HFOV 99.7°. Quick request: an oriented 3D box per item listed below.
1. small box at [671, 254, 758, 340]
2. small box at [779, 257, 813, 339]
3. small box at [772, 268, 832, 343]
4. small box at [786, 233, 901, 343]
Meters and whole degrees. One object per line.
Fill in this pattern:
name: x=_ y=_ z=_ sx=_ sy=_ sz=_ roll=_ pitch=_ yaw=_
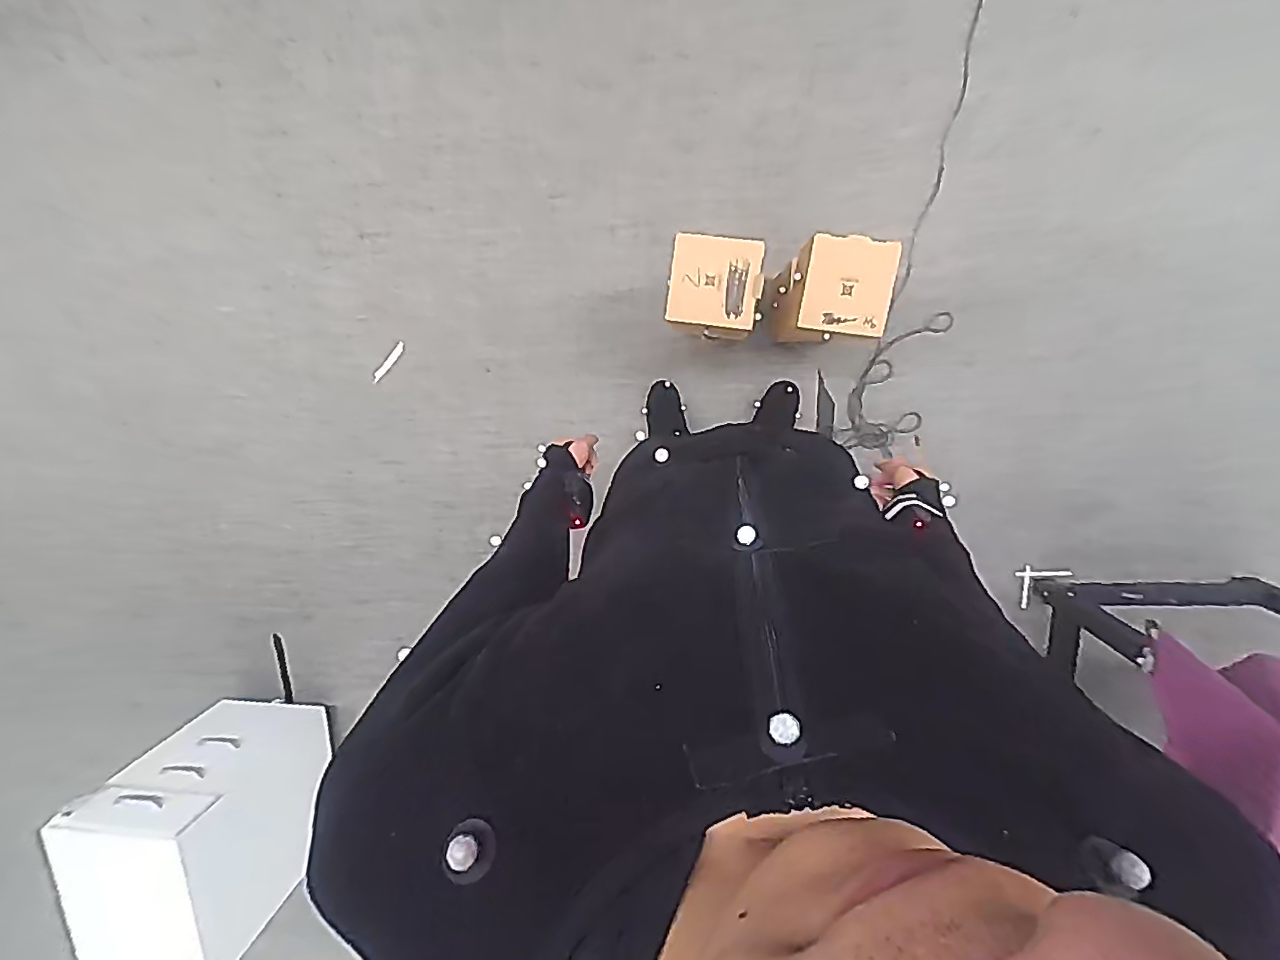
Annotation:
small box: x=0.174 y=-0.429 z=1.291 sx=0.179 sy=0.176 sz=0.168 roll=9 pitch=103 yaw=5
small box: x=0.426 y=-0.421 z=1.270 sx=0.179 sy=0.176 sz=0.168 roll=2 pitch=102 yaw=7
small box: x=0.443 y=-0.456 z=1.426 sx=0.168 sy=0.176 sz=0.179 roll=1 pitch=102 yaw=7
small box: x=0.406 y=-0.386 z=1.110 sx=0.168 sy=0.176 sz=0.179 roll=9 pitch=102 yaw=5
